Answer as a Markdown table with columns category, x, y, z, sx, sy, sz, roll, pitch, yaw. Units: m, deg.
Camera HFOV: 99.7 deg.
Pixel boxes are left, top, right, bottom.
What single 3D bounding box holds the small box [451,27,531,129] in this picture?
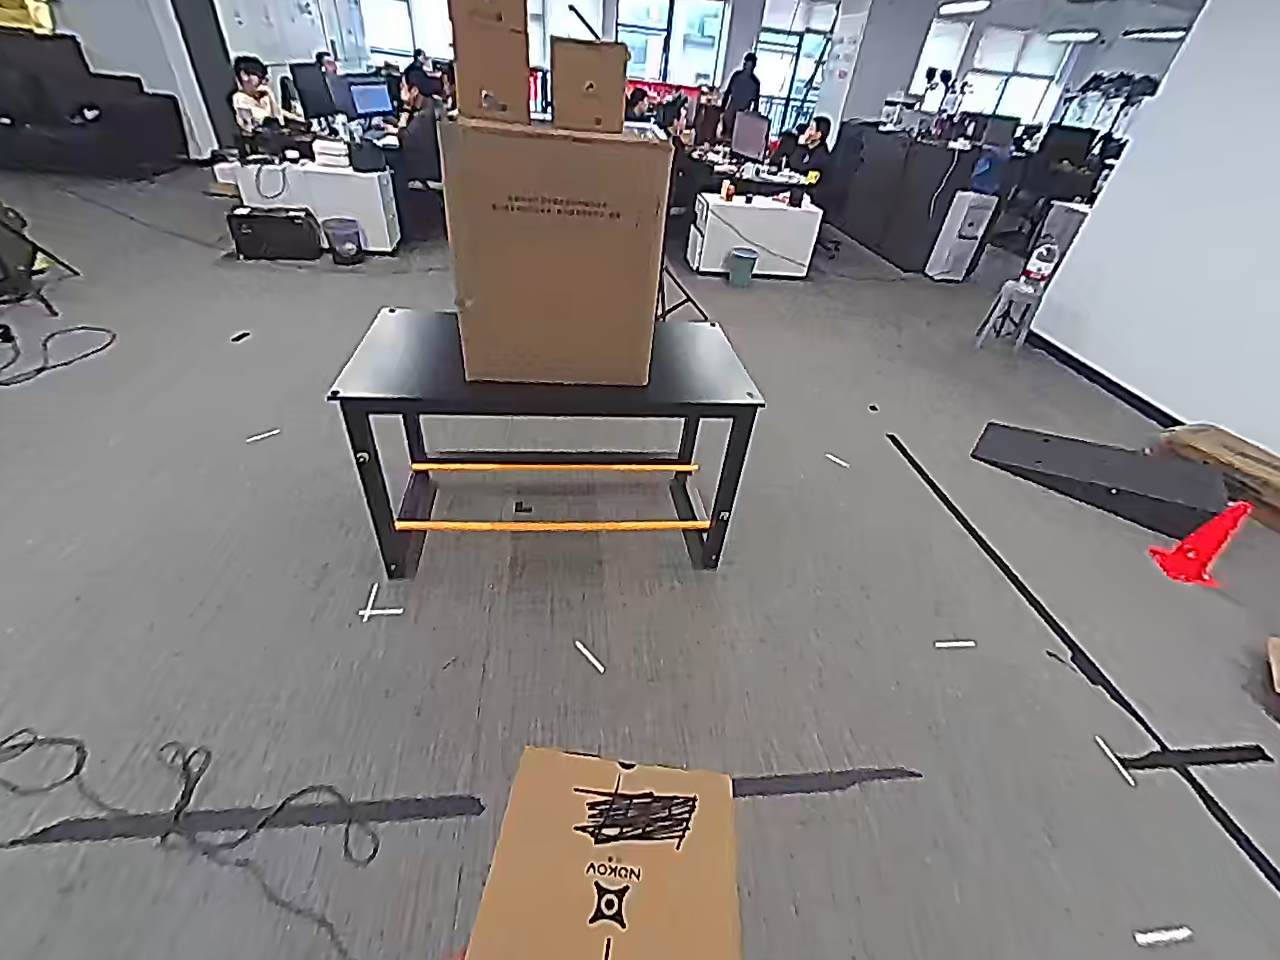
| category | x | y | z | sx | sy | sz | roll | pitch | yaw |
| --- | --- | --- | --- | --- | --- | --- | --- | --- | --- |
| small box | -0.344 | -0.942 | 1.267 | 0.168 | 0.176 | 0.179 | -4 | 40 | -13 |

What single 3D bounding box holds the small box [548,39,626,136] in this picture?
| category | x | y | z | sx | sy | sz | roll | pitch | yaw |
| --- | --- | --- | --- | --- | --- | --- | --- | --- | --- |
| small box | -0.128 | -0.925 | 1.277 | 0.168 | 0.176 | 0.179 | -3 | 40 | -11 |

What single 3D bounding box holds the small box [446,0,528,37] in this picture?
| category | x | y | z | sx | sy | sz | roll | pitch | yaw |
| --- | --- | --- | --- | --- | --- | --- | --- | --- | --- |
| small box | -0.330 | -1.069 | 1.163 | 0.168 | 0.176 | 0.179 | -2 | 39 | -11 |
